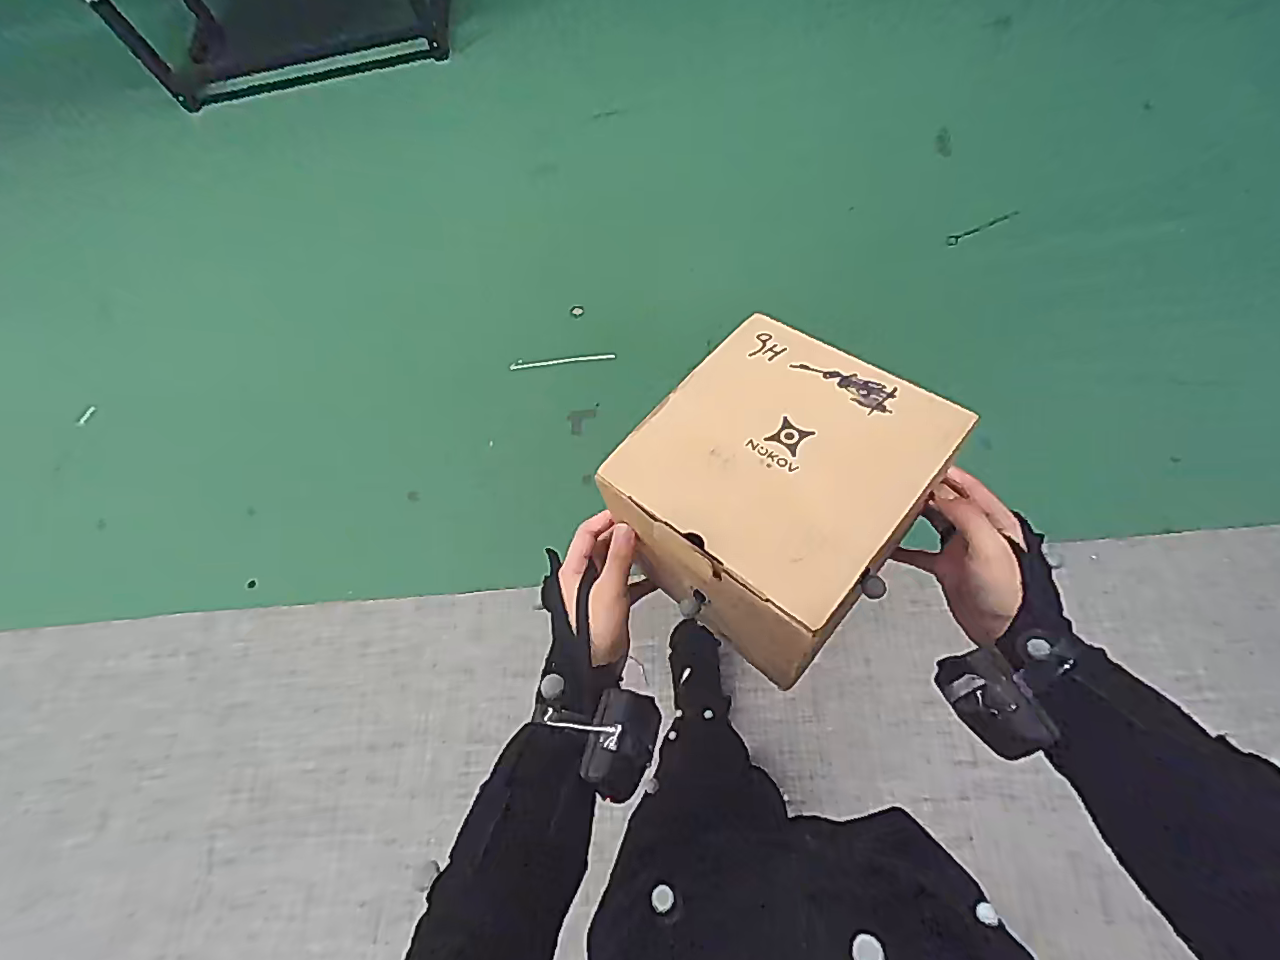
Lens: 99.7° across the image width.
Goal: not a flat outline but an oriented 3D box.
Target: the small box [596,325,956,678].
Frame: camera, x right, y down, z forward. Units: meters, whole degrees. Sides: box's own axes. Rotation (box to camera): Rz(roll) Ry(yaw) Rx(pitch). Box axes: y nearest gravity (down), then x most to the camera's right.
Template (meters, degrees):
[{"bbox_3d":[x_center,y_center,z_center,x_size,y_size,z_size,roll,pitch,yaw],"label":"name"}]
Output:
[{"bbox_3d":[0.098,0.024,0.416,0.168,0.176,0.179,35,72,26],"label":"small box"}]
